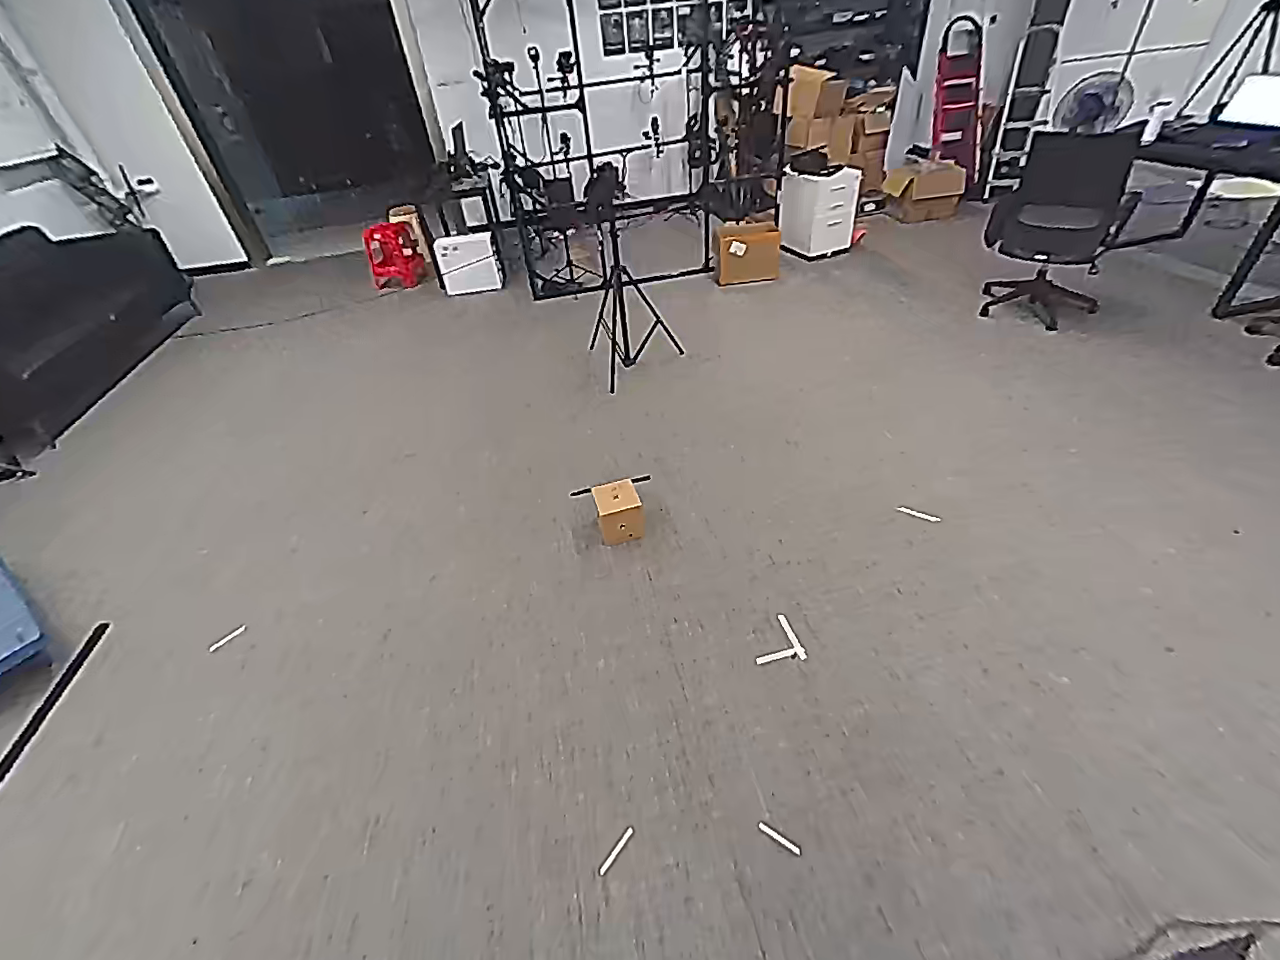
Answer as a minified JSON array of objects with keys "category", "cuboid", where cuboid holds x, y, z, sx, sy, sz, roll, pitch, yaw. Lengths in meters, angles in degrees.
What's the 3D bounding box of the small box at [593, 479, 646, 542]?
[{"category":"small box","cuboid":[-0.081,0.126,2.146,0.168,0.176,0.179,-14,39,-9]}]
